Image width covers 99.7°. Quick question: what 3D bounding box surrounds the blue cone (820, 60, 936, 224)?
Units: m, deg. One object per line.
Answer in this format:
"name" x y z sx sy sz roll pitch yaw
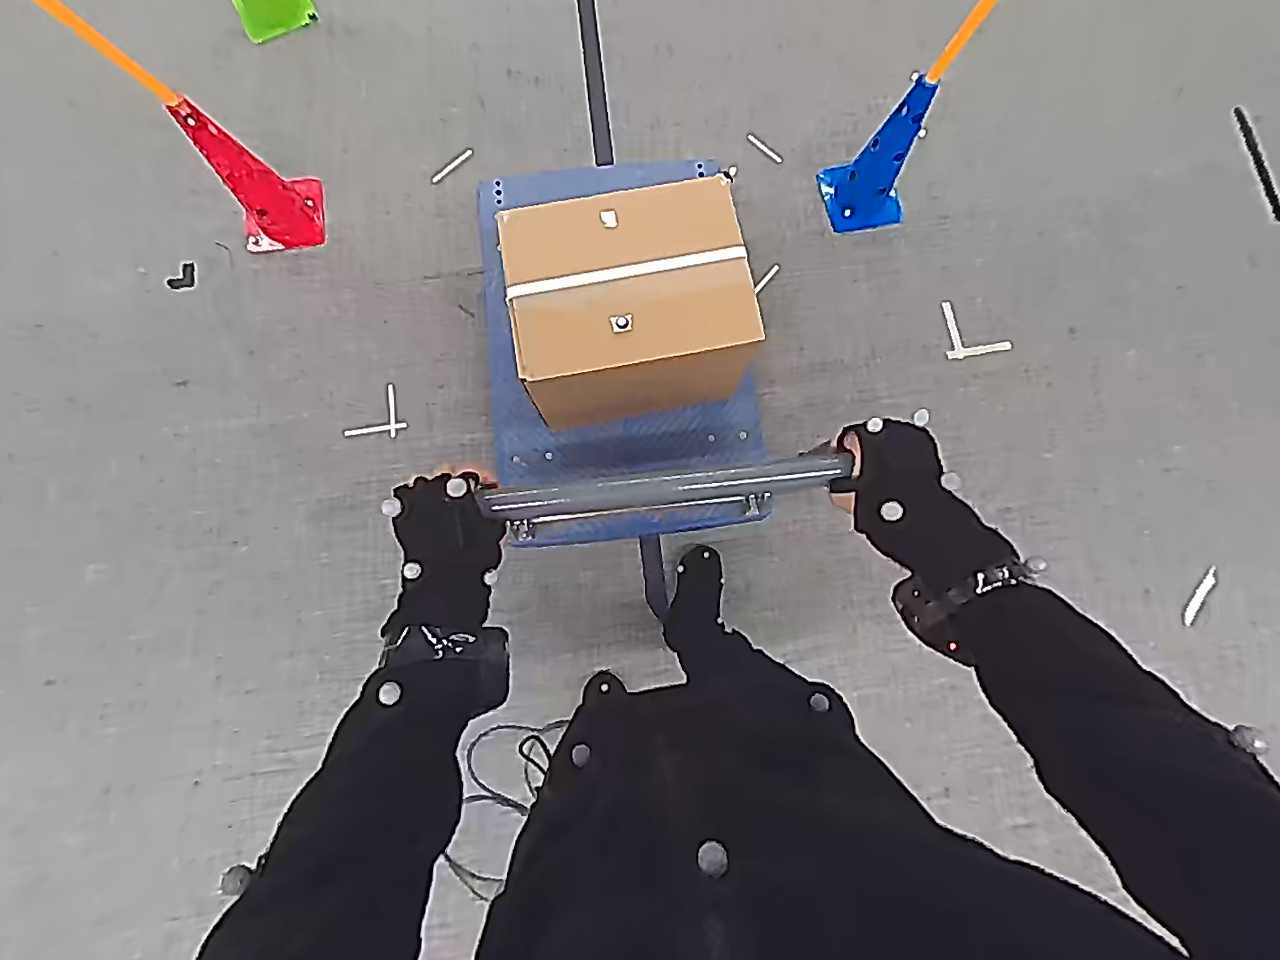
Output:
"blue cone" 0.603 -0.820 1.310 0.193 0.380 0.192 -11 80 -3
